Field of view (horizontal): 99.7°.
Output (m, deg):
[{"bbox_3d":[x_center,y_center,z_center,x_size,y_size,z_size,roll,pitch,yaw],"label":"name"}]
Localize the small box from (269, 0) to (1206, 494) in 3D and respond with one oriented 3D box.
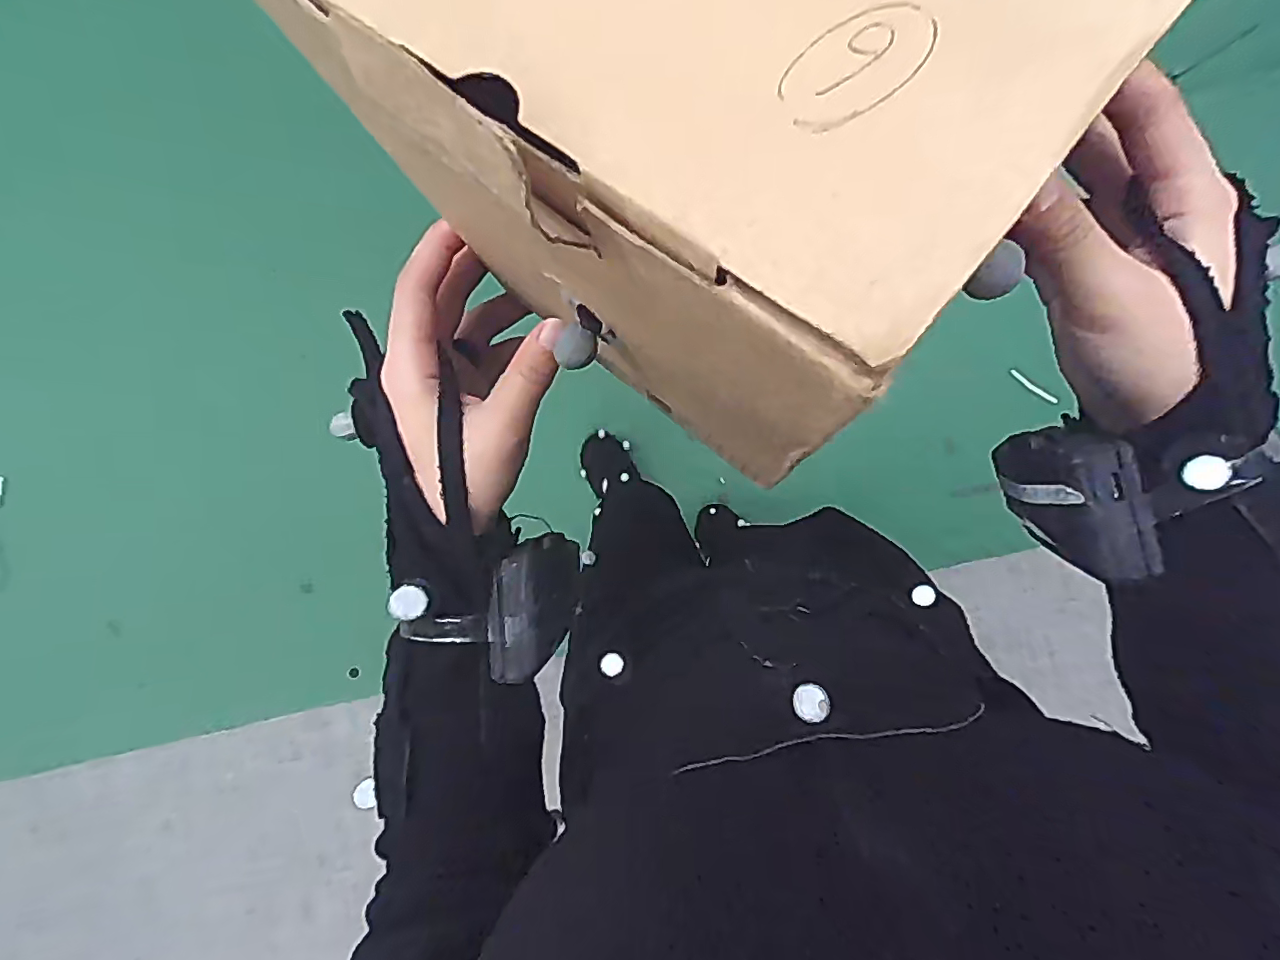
[{"bbox_3d":[0.039,-0.111,0.188,0.168,0.176,0.179,38,90,11],"label":"small box"}]
